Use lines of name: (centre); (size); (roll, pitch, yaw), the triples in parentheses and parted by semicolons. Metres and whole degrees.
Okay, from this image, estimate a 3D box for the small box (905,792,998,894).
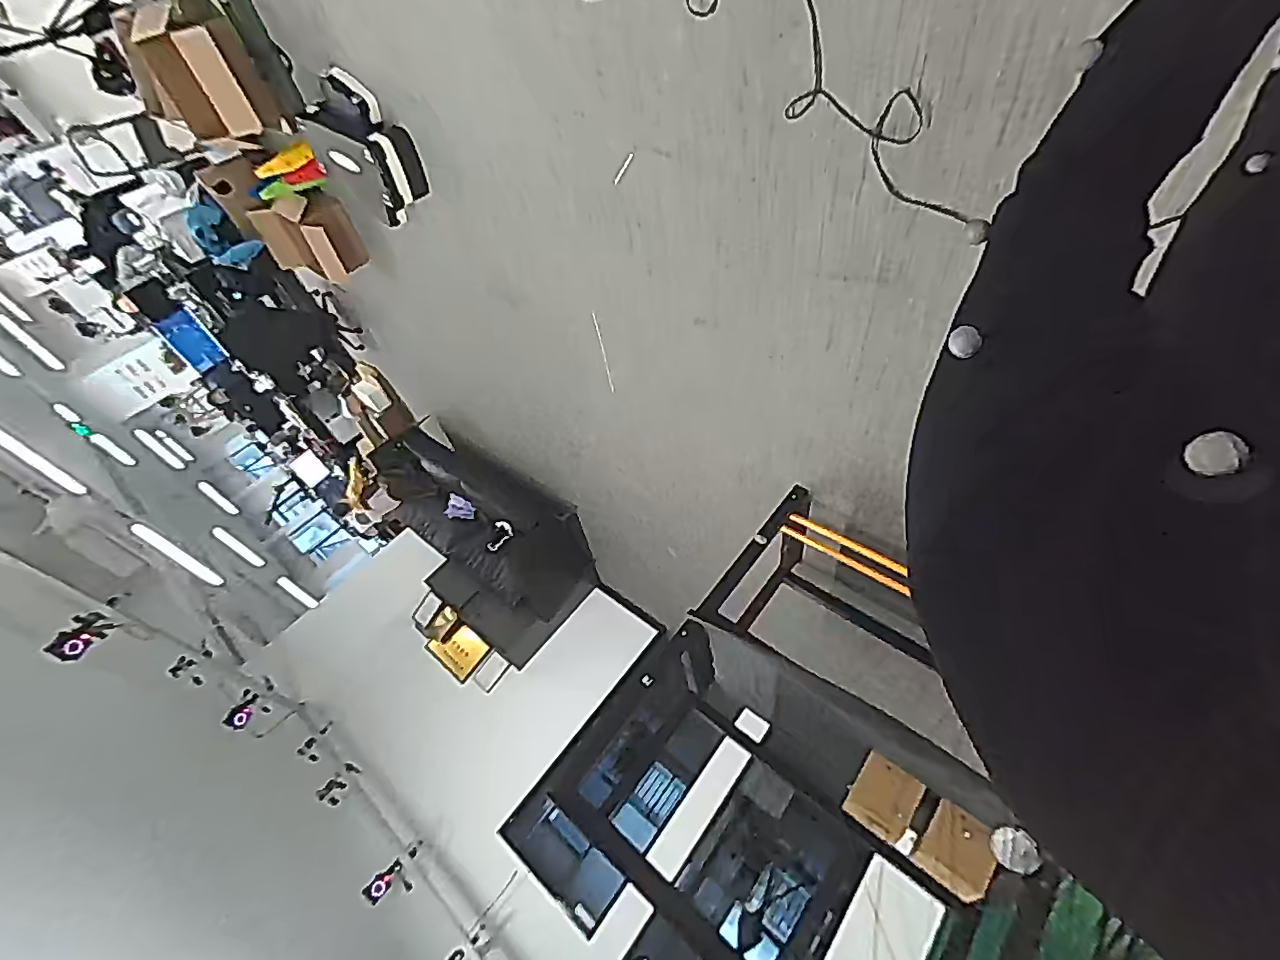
small box: (0.890, 1.036, 1.548); (0.168, 0.176, 0.179); (27, 150, 31)
